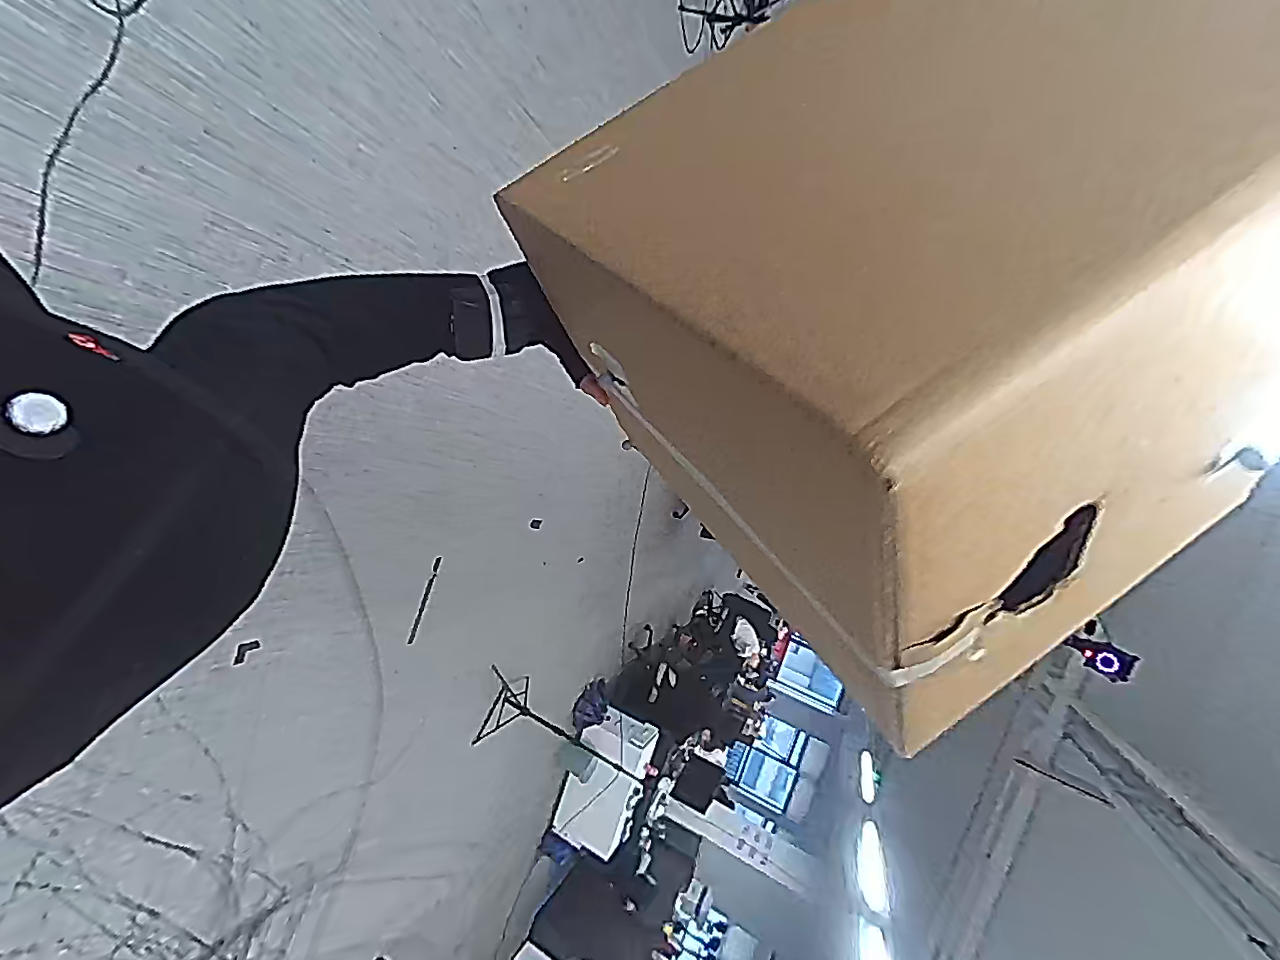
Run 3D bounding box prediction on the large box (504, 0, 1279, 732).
[{"bbox_3d":[0.151,-0.106,0.417,0.320,0.408,0.320,-33,136,-4],"label":"large box"}]
